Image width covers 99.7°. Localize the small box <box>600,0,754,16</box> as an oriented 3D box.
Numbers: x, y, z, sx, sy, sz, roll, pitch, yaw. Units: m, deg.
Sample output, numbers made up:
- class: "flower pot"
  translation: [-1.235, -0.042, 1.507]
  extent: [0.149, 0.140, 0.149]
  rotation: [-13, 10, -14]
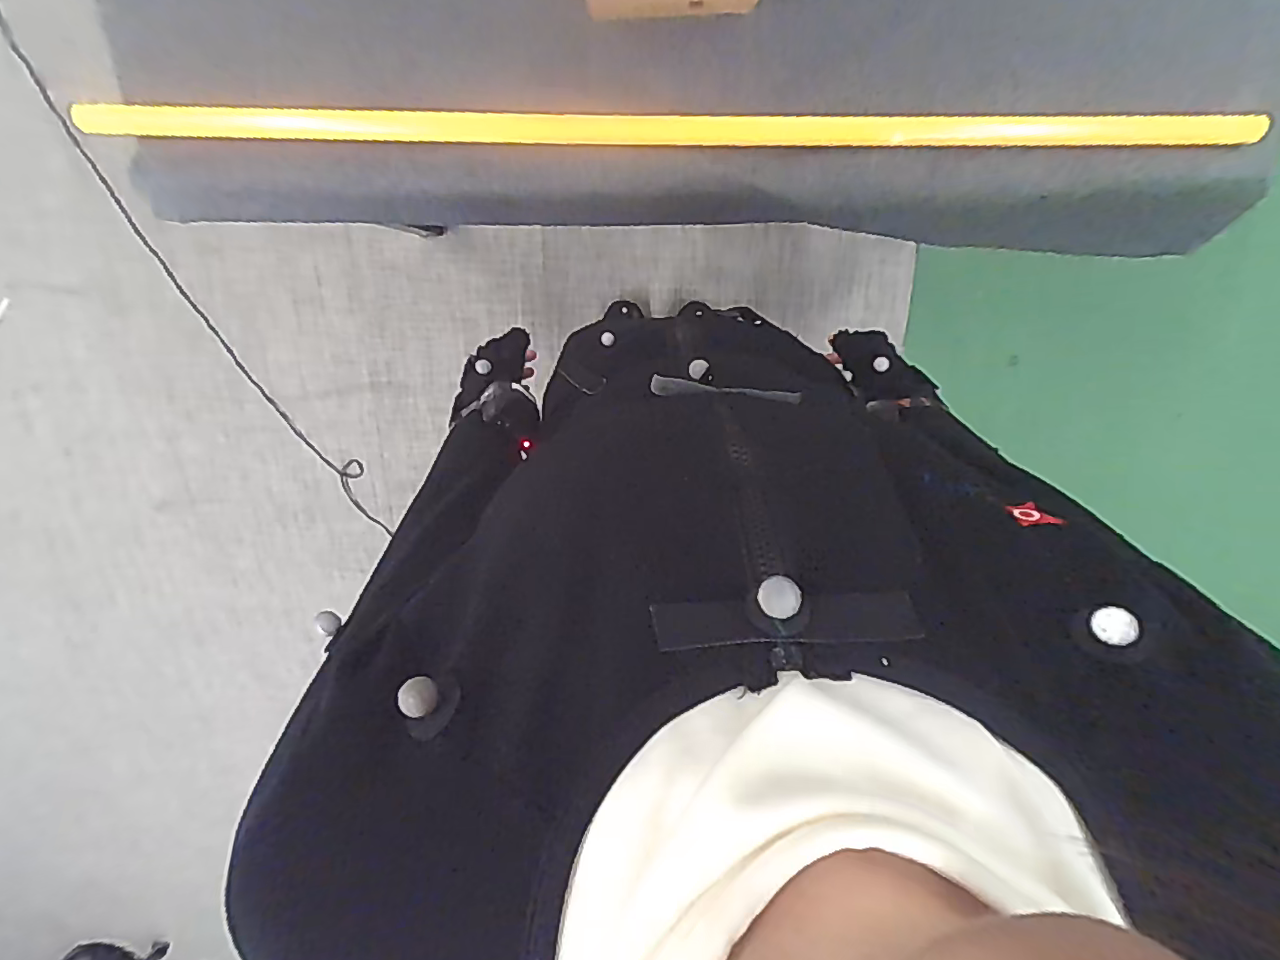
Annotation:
- class: "small box"
  translation: [0.032, -0.521, 0.433]
  extent: [0.168, 0.176, 0.179]
  rotation: [-2, 109, 1]
